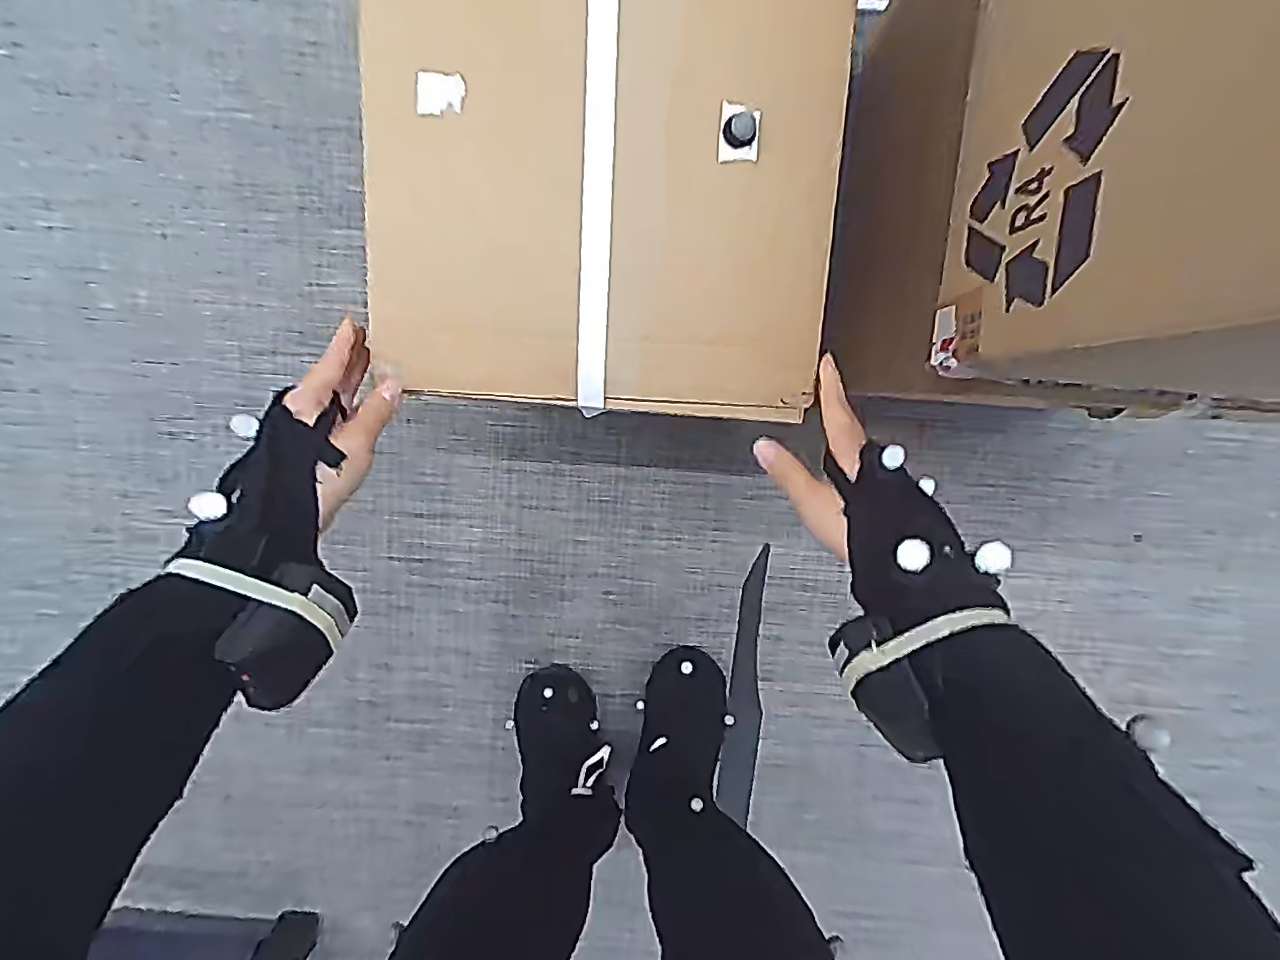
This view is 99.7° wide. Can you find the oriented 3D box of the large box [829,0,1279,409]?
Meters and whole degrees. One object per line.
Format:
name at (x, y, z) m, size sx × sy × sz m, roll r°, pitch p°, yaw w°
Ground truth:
large box at (0.393, -0.278, 0.503) m, size 0.320 × 0.320 × 0.408 m, roll 3°, pitch 100°, yaw 0°
